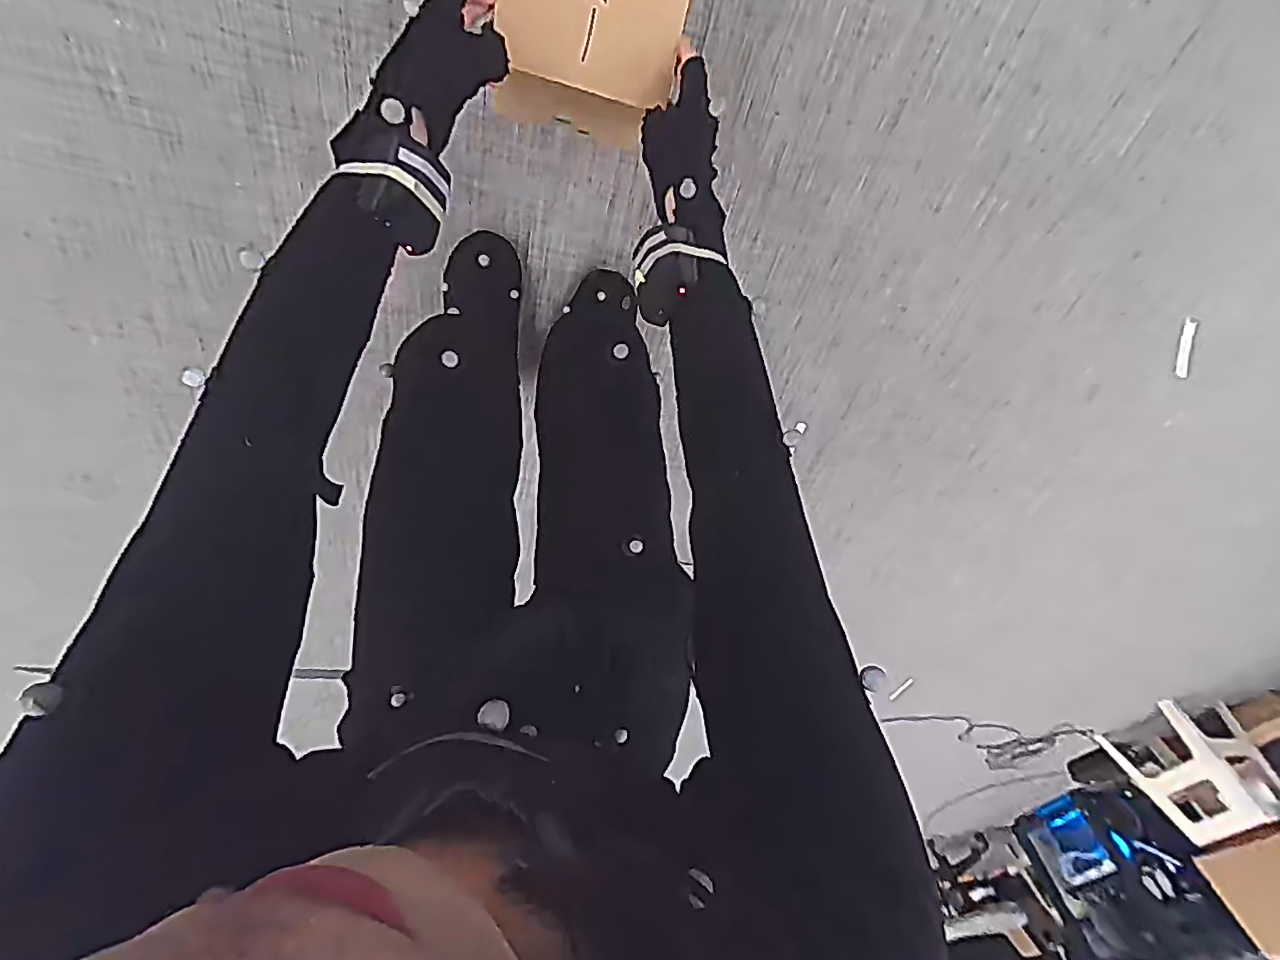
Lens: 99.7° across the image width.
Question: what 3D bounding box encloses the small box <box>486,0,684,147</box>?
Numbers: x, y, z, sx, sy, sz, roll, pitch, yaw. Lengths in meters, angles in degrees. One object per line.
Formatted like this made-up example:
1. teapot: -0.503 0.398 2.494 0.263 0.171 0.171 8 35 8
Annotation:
1. small box: -0.058 -0.465 0.538 0.168 0.176 0.179 8 109 -16
